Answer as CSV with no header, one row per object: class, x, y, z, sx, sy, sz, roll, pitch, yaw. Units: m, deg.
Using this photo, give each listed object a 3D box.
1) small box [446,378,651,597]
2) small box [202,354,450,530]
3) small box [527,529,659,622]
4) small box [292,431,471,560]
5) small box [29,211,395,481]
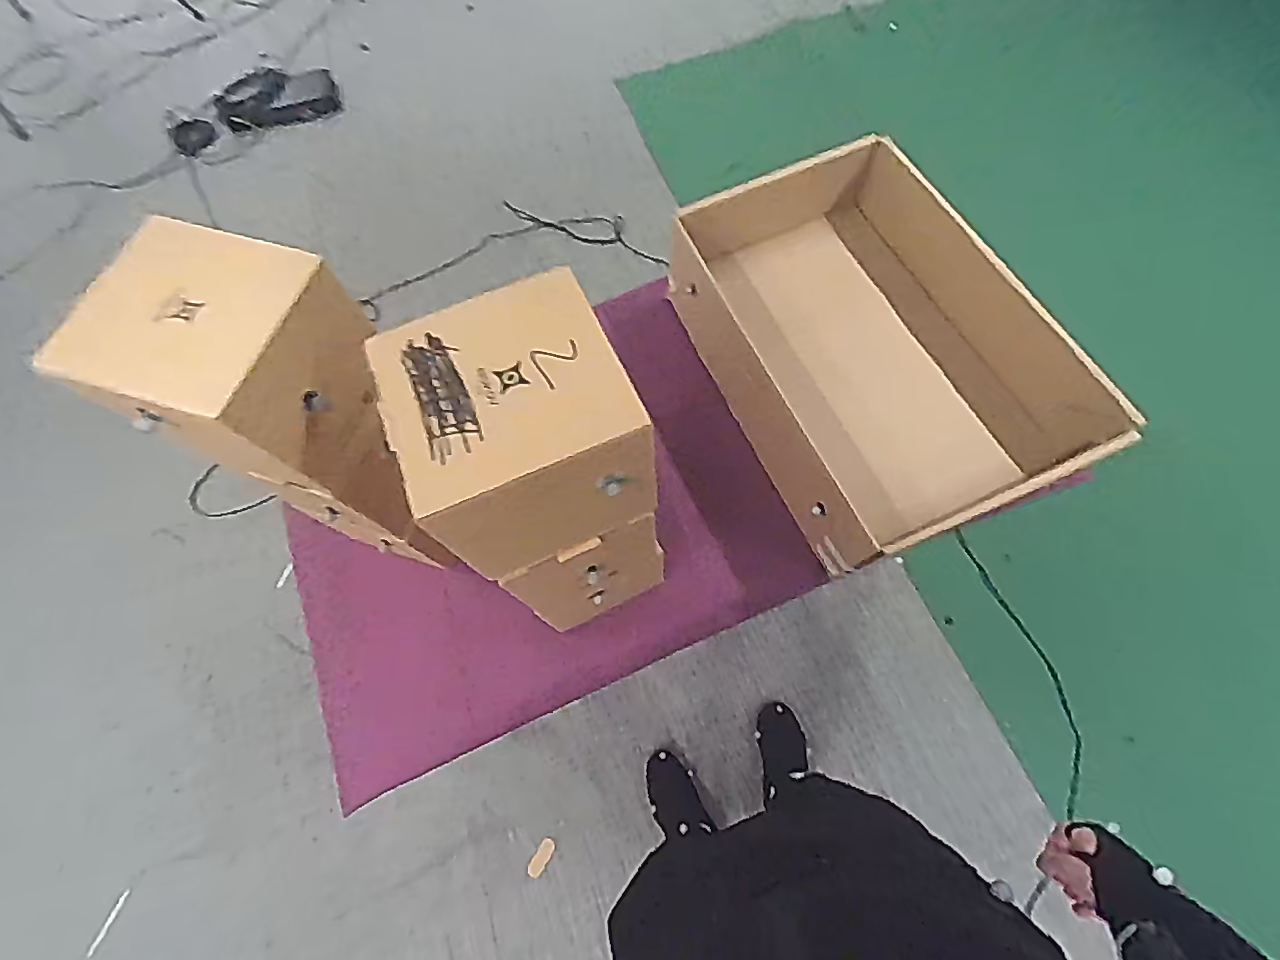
small box,-0.093,0.021,0.621,0.168,0.176,0.179,-24,69,-8
small box,-0.361,-0.055,0.664,0.168,0.176,0.179,17,70,7
small box,-0.082,0.086,0.771,0.179,0.176,0.168,-25,69,-8
small box,-0.359,0.010,0.813,0.179,0.176,0.168,17,69,8
small box,-0.371,-0.113,0.513,0.179,0.176,0.168,15,70,7
